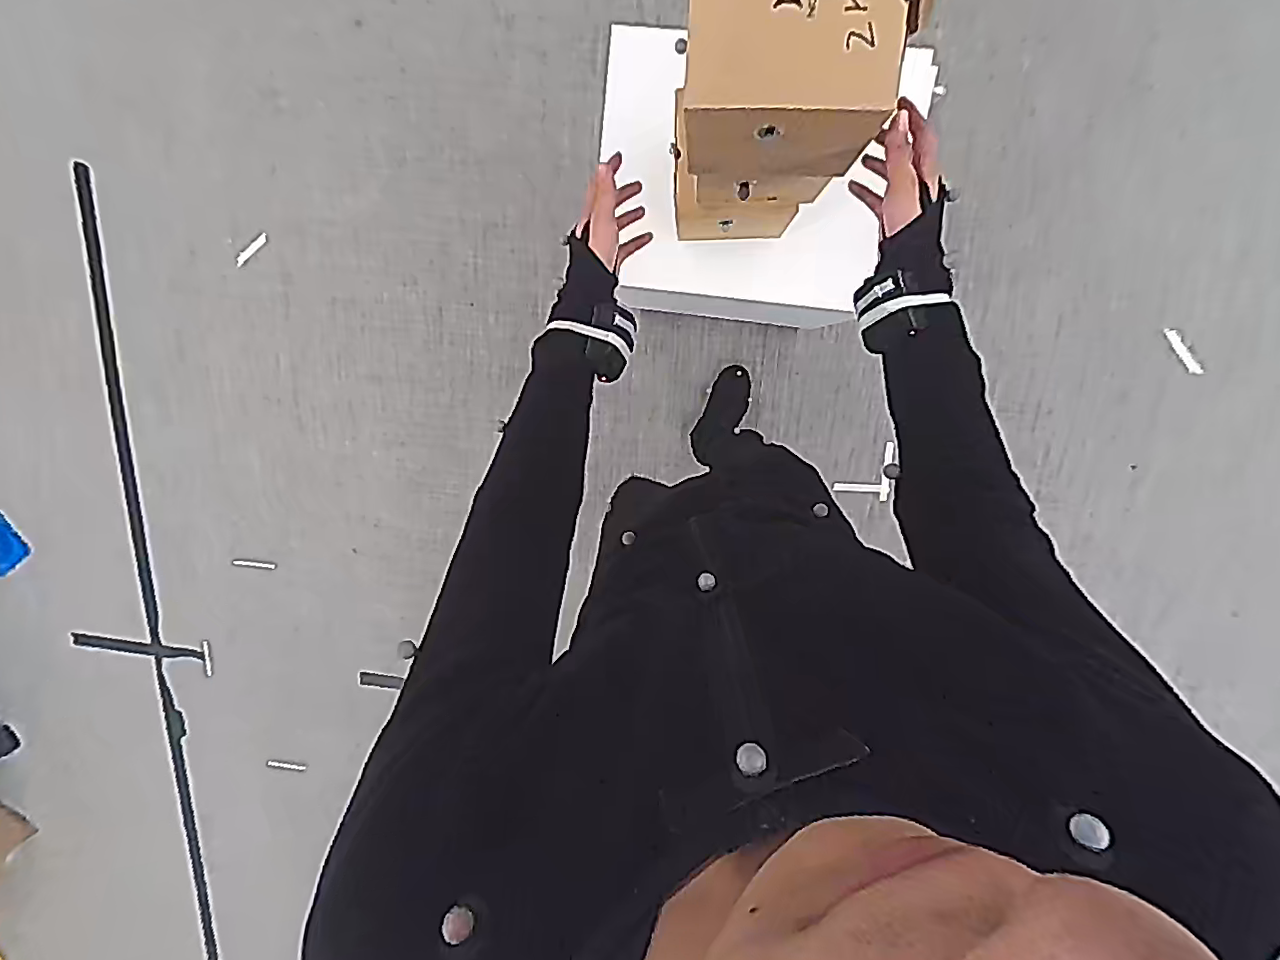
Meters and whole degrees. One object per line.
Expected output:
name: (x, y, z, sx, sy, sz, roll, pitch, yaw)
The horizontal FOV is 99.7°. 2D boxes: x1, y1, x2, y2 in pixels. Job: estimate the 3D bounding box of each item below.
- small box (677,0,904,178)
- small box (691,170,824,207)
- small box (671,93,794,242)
small box: (0.131, -0.401, 0.510, 0.179, 0.176, 0.168, 4, 103, 5)
small box: (0.149, -0.449, 0.668, 0.168, 0.176, 0.179, 1, 102, 5)
small box: (0.139, -0.470, 0.831, 0.179, 0.176, 0.168, 0, 103, 5)
